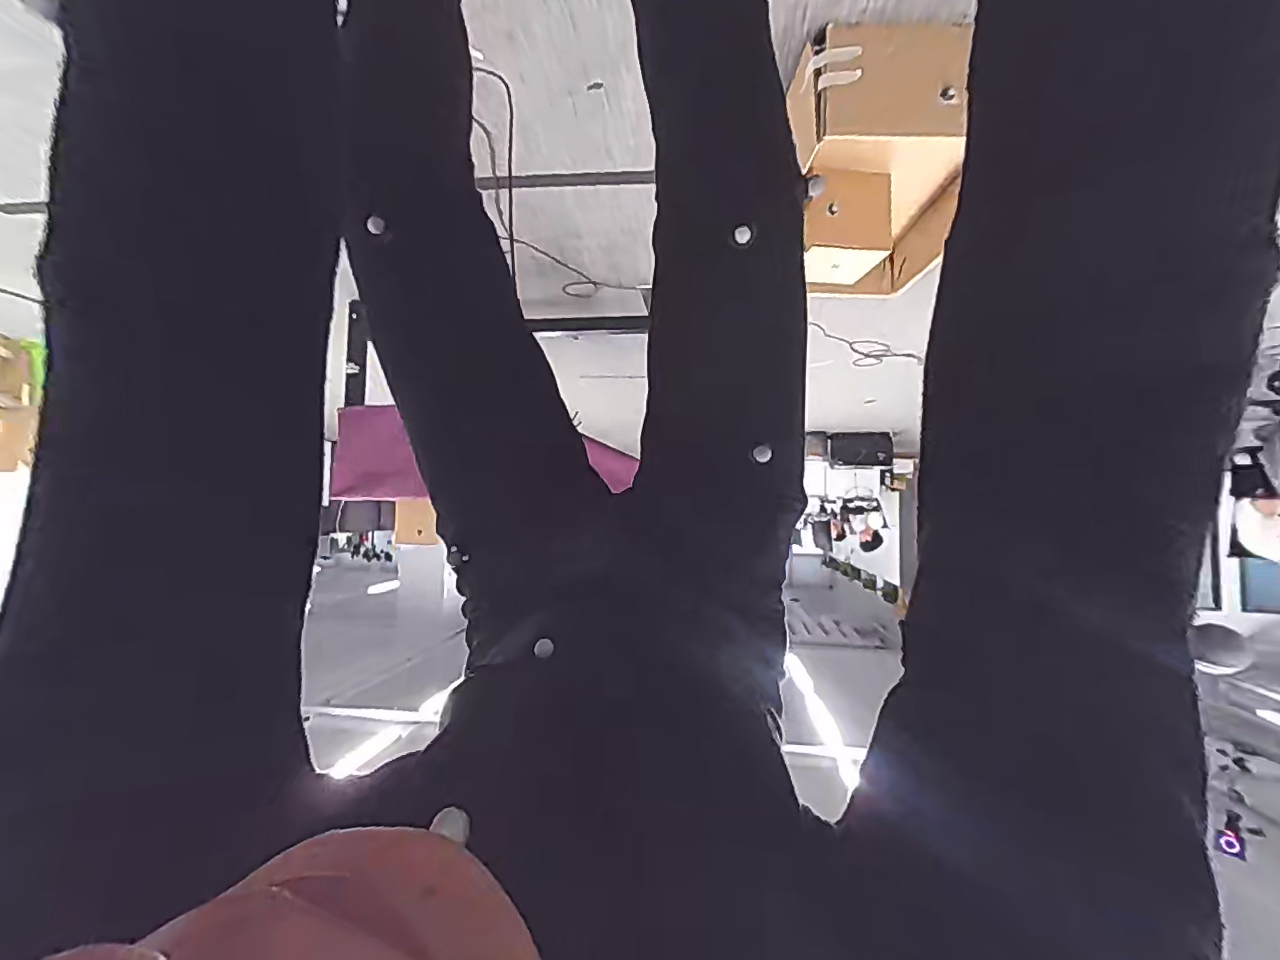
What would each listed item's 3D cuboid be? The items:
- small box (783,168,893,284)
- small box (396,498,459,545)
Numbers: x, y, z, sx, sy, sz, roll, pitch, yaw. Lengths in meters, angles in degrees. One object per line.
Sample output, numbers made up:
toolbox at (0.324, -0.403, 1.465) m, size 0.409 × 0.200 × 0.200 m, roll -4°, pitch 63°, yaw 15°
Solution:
small box at (0.426, -0.551, 1.182) m, size 0.179 × 0.176 × 0.168 m, roll 2°, pitch 177°, yaw -7°
small box at (-0.808, 0.155, 2.064) m, size 0.179 × 0.176 × 0.168 m, roll 1°, pitch 177°, yaw 6°
